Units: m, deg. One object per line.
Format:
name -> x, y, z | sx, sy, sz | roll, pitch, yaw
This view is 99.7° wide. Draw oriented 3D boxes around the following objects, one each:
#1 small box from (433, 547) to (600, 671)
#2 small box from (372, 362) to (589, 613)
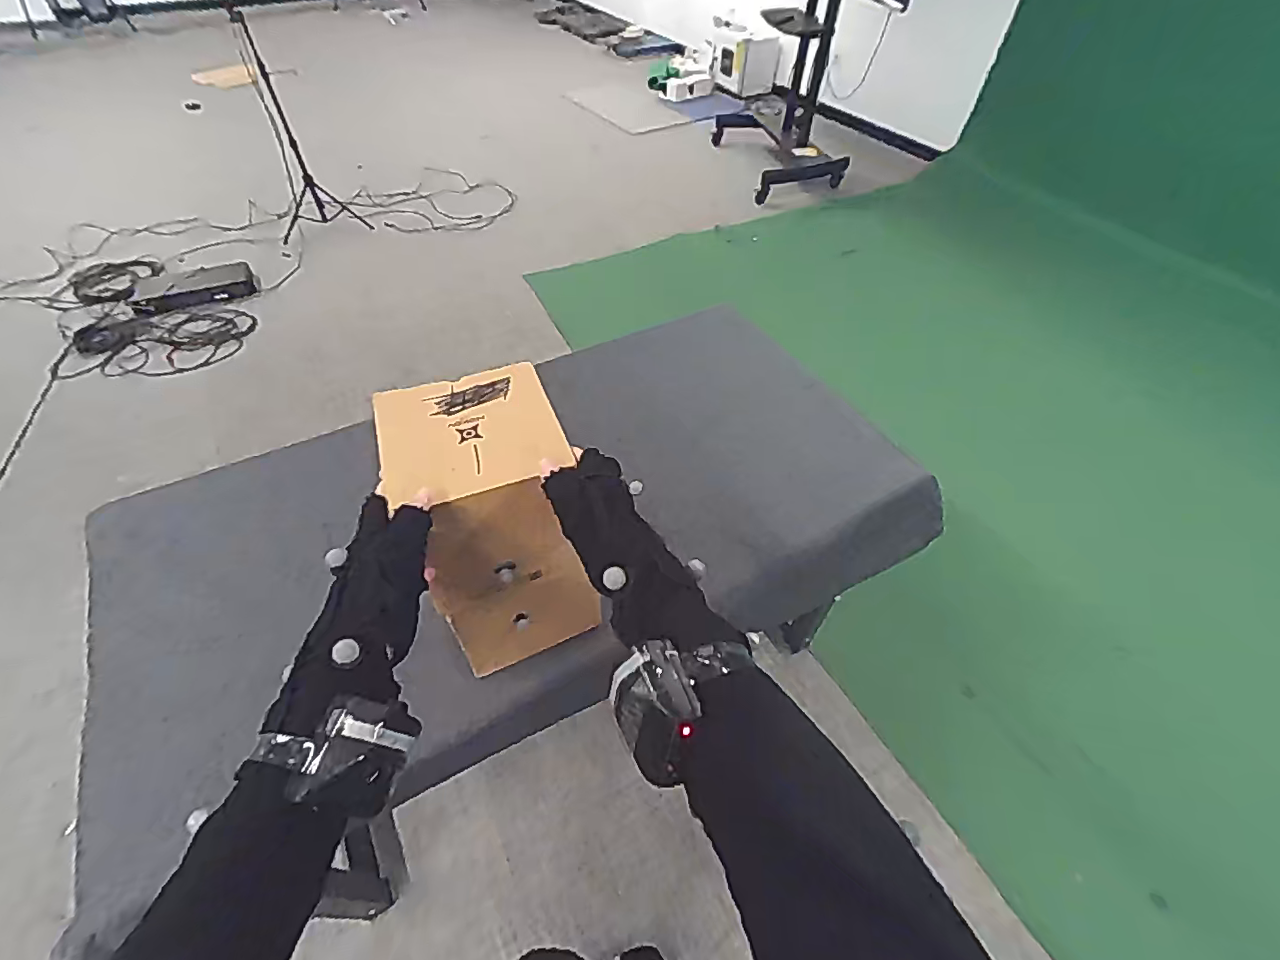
small box -> -0.164, 0.117, 0.700 | 0.179, 0.176, 0.168 | -21, 52, -17
small box -> -0.163, 0.005, 0.572 | 0.168, 0.176, 0.179 | -19, 47, -16
